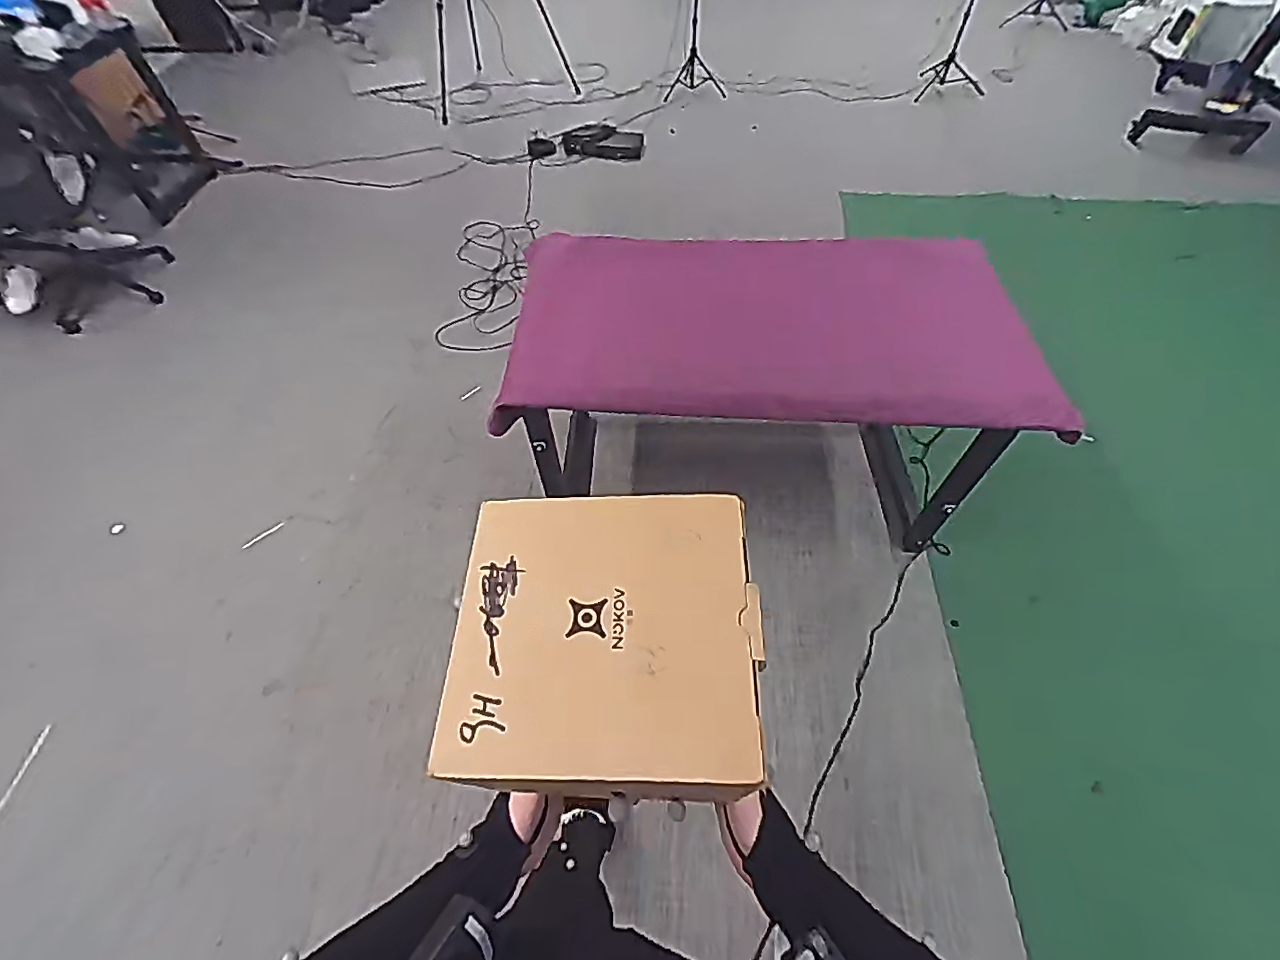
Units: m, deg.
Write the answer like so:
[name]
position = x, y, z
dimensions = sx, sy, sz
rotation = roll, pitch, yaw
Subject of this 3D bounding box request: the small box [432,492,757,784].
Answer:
[small box]
position = -0.017, 0.121, 0.393
dimensions = 0.179, 0.176, 0.168
rotation = -1, 58, 5
